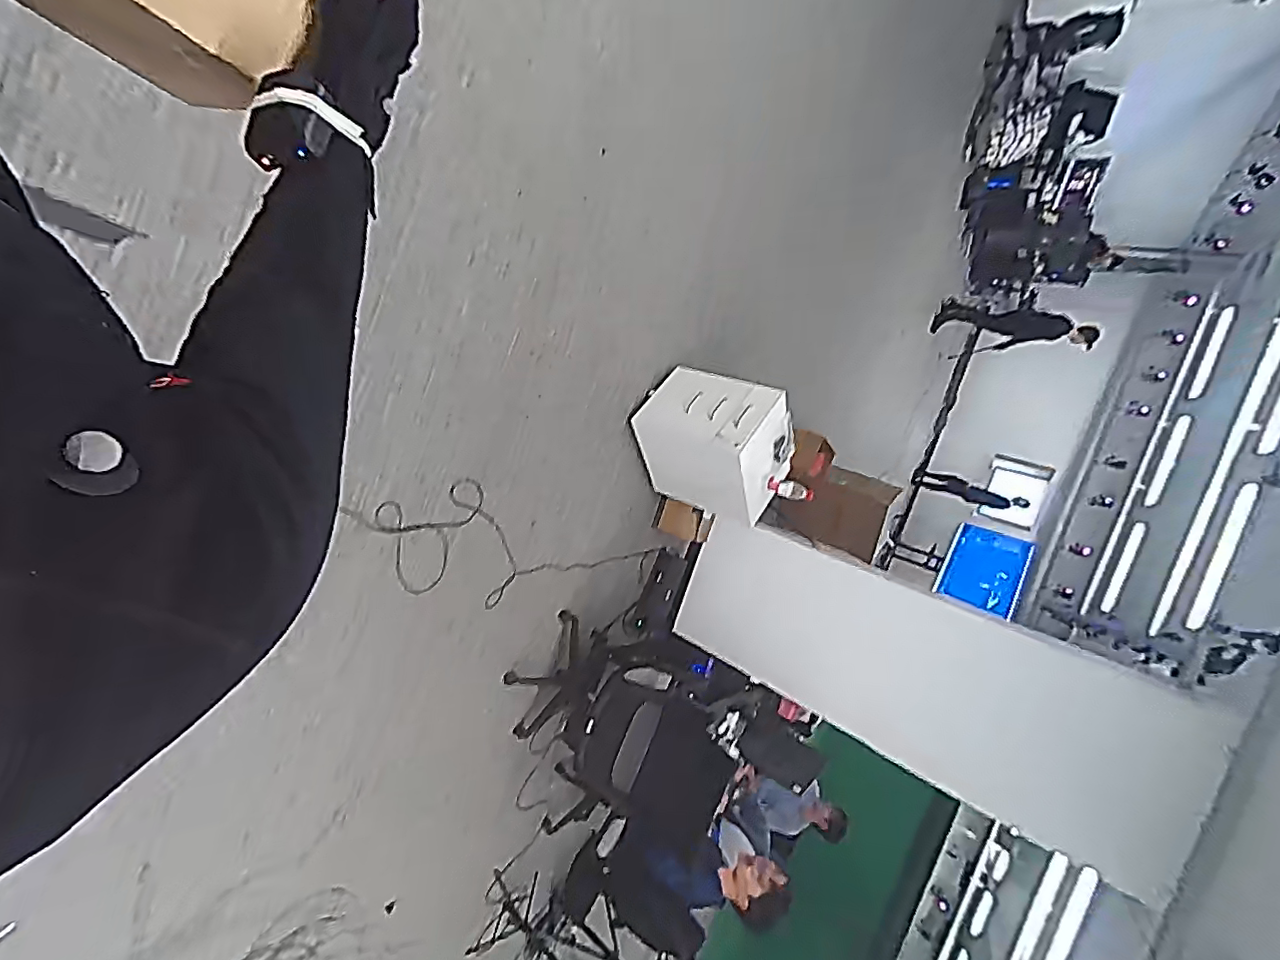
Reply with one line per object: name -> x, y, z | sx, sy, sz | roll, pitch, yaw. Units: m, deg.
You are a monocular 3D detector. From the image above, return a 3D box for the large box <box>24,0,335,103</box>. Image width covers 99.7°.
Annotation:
large box -> -0.457, -0.551, 0.372 | 0.408, 0.320, 0.320 | 16, 101, -58
